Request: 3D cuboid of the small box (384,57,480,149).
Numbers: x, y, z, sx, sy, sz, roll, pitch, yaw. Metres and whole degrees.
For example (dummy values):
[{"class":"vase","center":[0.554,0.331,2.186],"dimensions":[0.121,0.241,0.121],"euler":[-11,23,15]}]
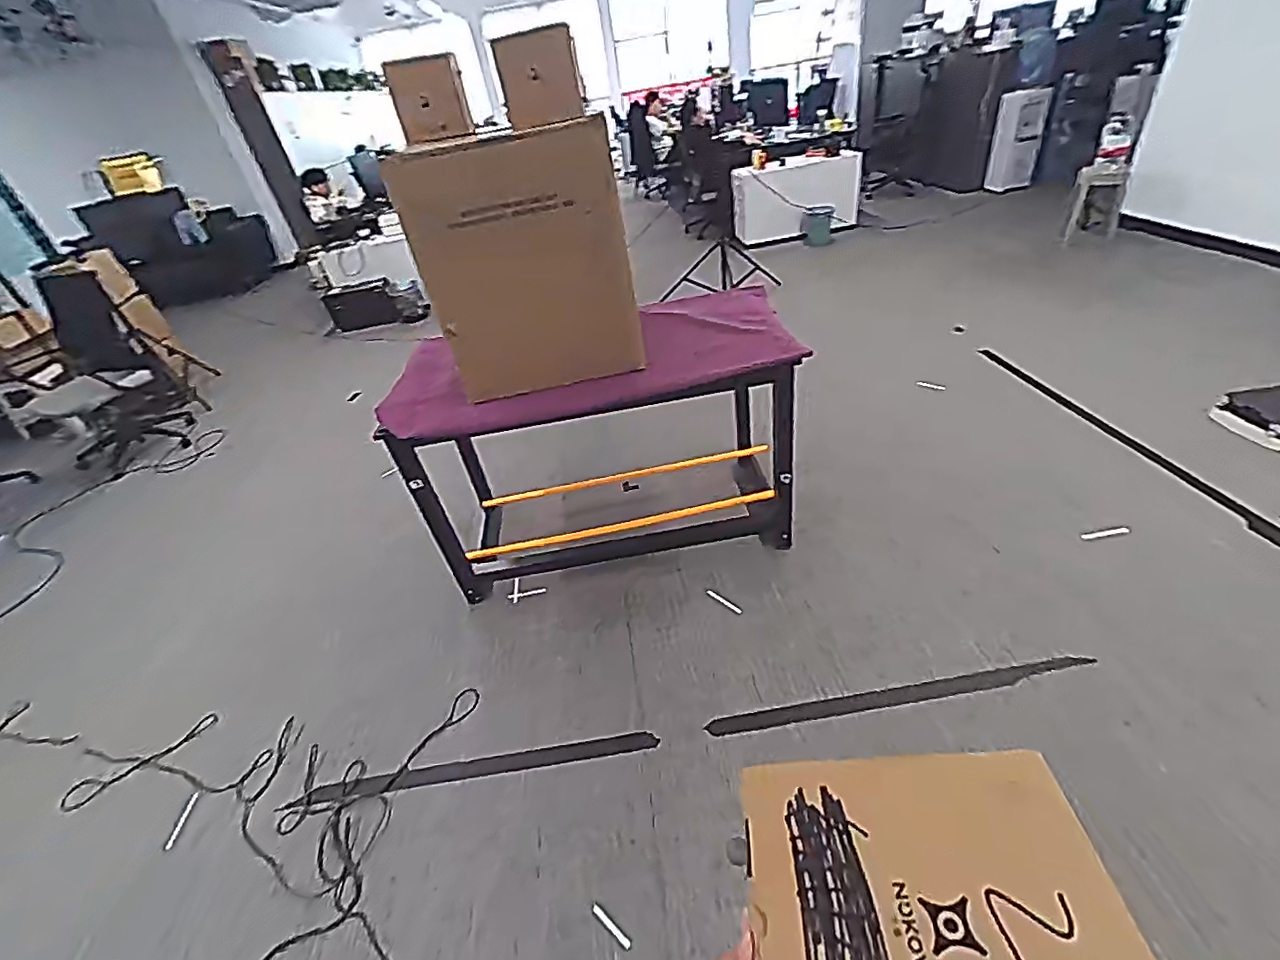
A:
[{"class":"small box","center":[-0.515,-0.950,1.368],"dimensions":[0.168,0.176,0.179],"euler":[-10,37,-2]}]
